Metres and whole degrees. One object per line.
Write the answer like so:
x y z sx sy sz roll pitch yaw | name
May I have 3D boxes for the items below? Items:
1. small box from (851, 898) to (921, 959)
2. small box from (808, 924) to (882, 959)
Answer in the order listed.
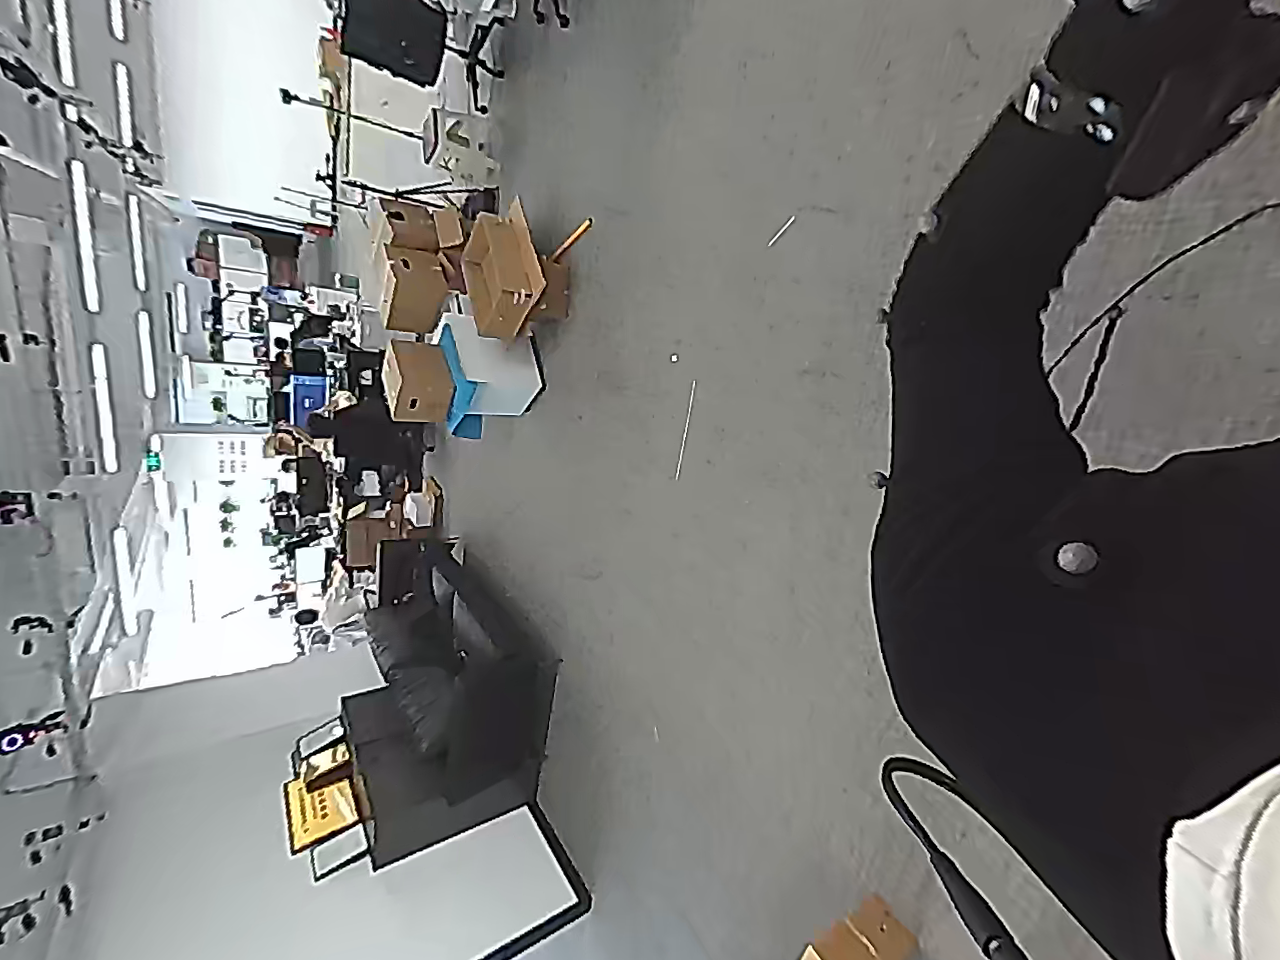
0.776 1.516 1.754 0.168 0.176 0.179 40 122 46 | small box
0.637 1.525 1.668 0.179 0.176 0.168 37 121 46 | small box
